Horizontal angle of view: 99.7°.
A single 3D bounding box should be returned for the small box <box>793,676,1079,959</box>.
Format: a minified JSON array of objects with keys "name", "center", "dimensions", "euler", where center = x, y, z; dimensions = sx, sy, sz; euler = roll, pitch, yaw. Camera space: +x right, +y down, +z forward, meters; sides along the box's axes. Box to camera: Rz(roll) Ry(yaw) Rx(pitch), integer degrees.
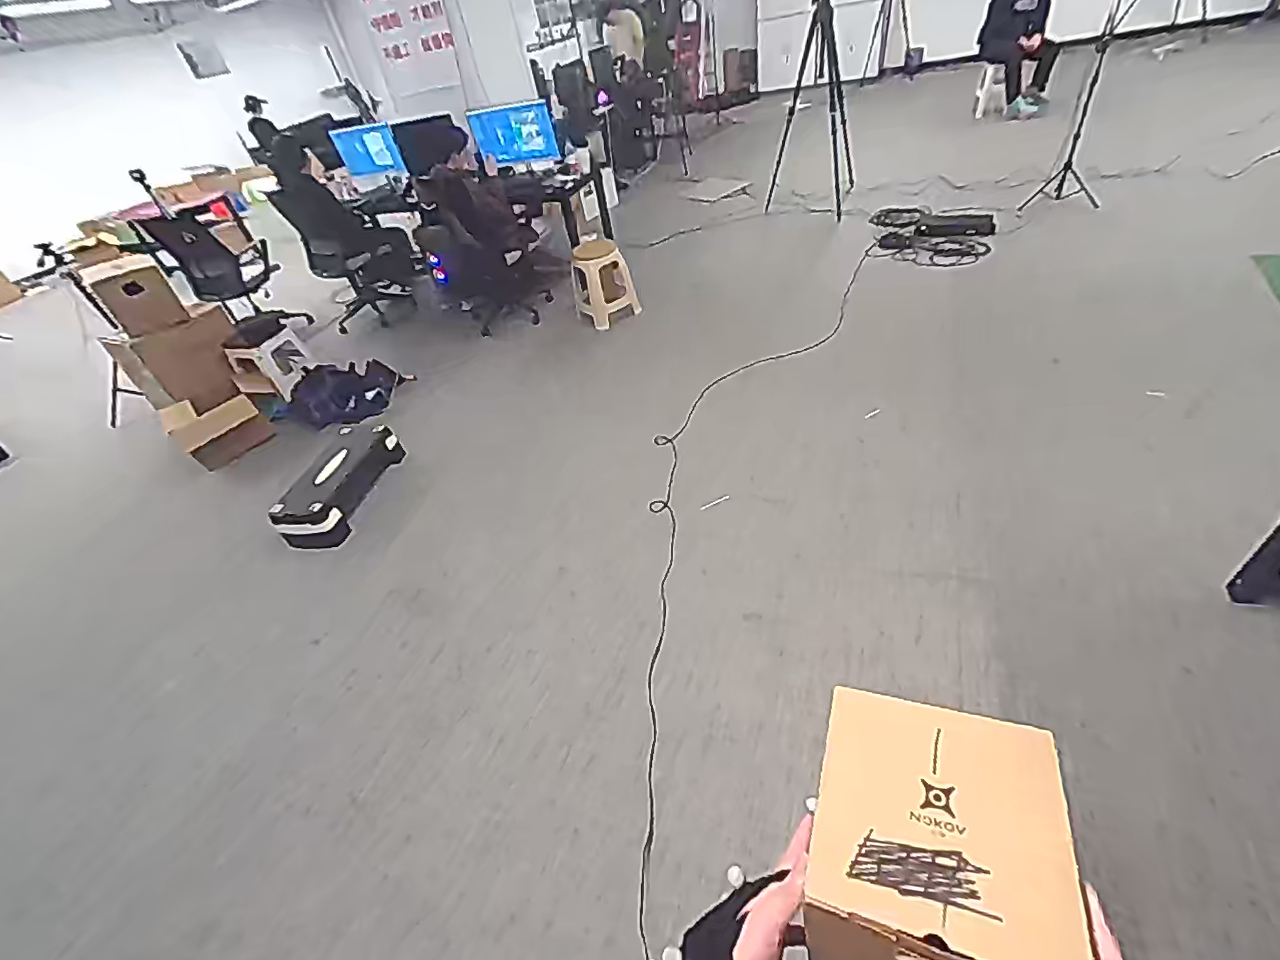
[{"name":"small box","center":[0.230,0.300,0.443],"dimensions":[0.168,0.176,0.179],"euler":[5,38,26]}]
